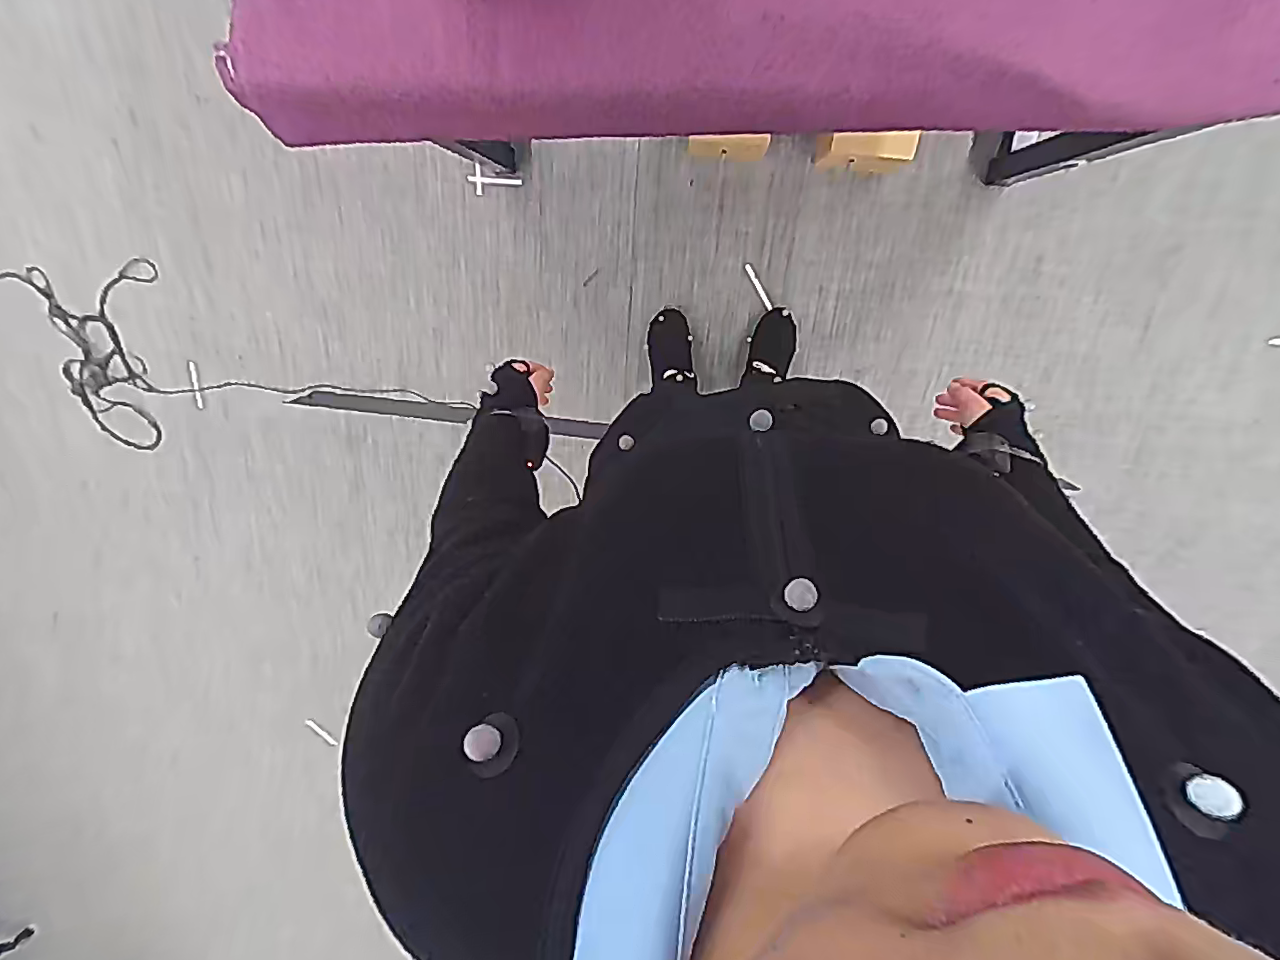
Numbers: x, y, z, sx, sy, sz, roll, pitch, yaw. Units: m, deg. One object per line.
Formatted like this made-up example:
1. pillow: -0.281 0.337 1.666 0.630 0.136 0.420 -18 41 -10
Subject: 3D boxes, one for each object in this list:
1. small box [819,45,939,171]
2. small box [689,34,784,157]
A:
1. small box: 0.484 -0.763 1.128 0.168 0.176 0.179 9 111 3
2. small box: 0.197 -0.799 1.142 0.168 0.176 0.179 6 111 3
